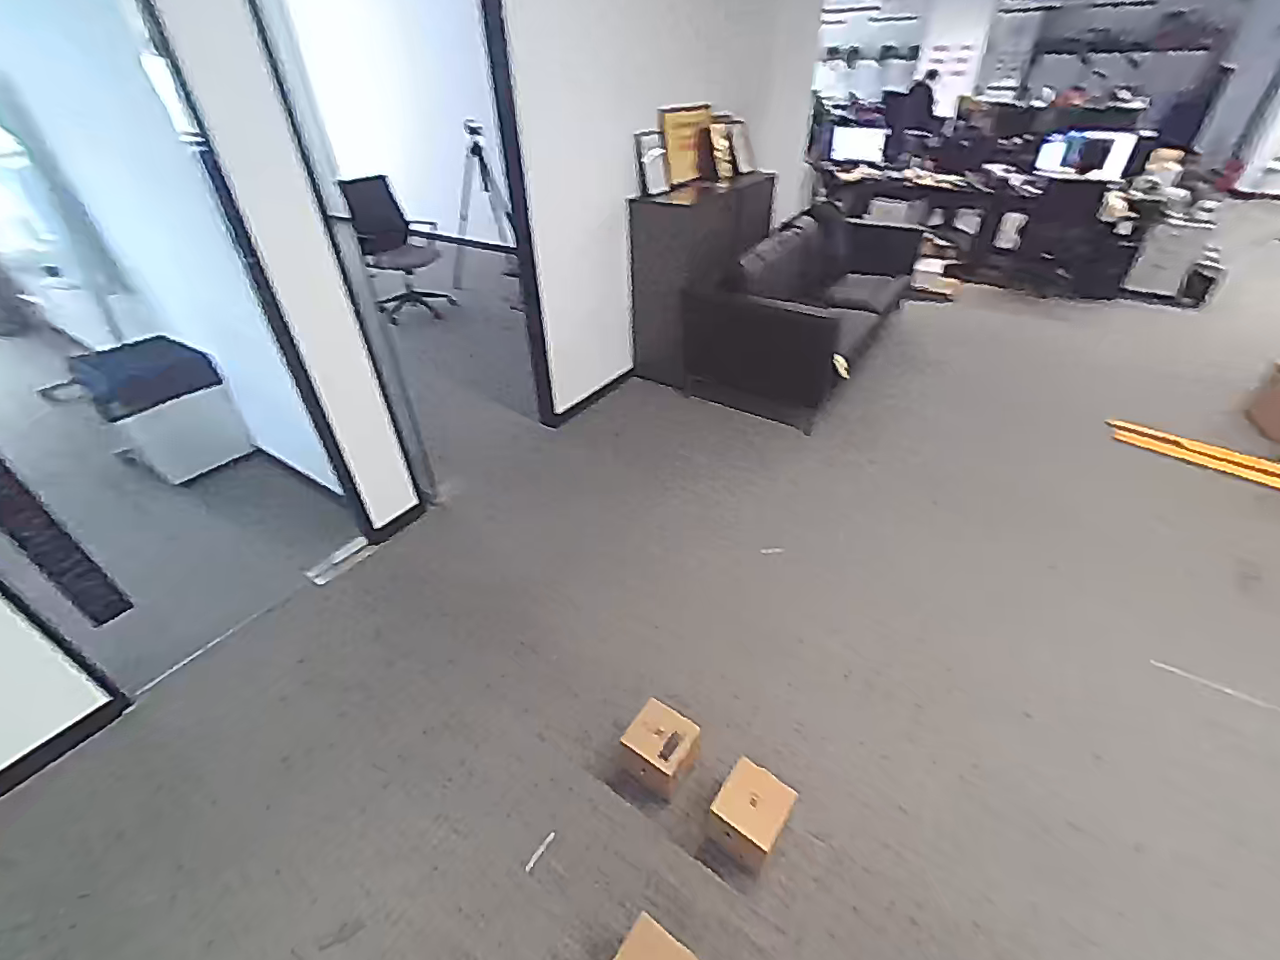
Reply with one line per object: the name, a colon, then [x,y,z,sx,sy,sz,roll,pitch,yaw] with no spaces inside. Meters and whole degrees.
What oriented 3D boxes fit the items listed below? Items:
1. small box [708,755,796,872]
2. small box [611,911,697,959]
small box: [0.294,0.885,1.434,0.168,0.176,0.179,23,43,30]
small box: [0.027,1.093,1.161,0.179,0.176,0.168,23,44,29]
